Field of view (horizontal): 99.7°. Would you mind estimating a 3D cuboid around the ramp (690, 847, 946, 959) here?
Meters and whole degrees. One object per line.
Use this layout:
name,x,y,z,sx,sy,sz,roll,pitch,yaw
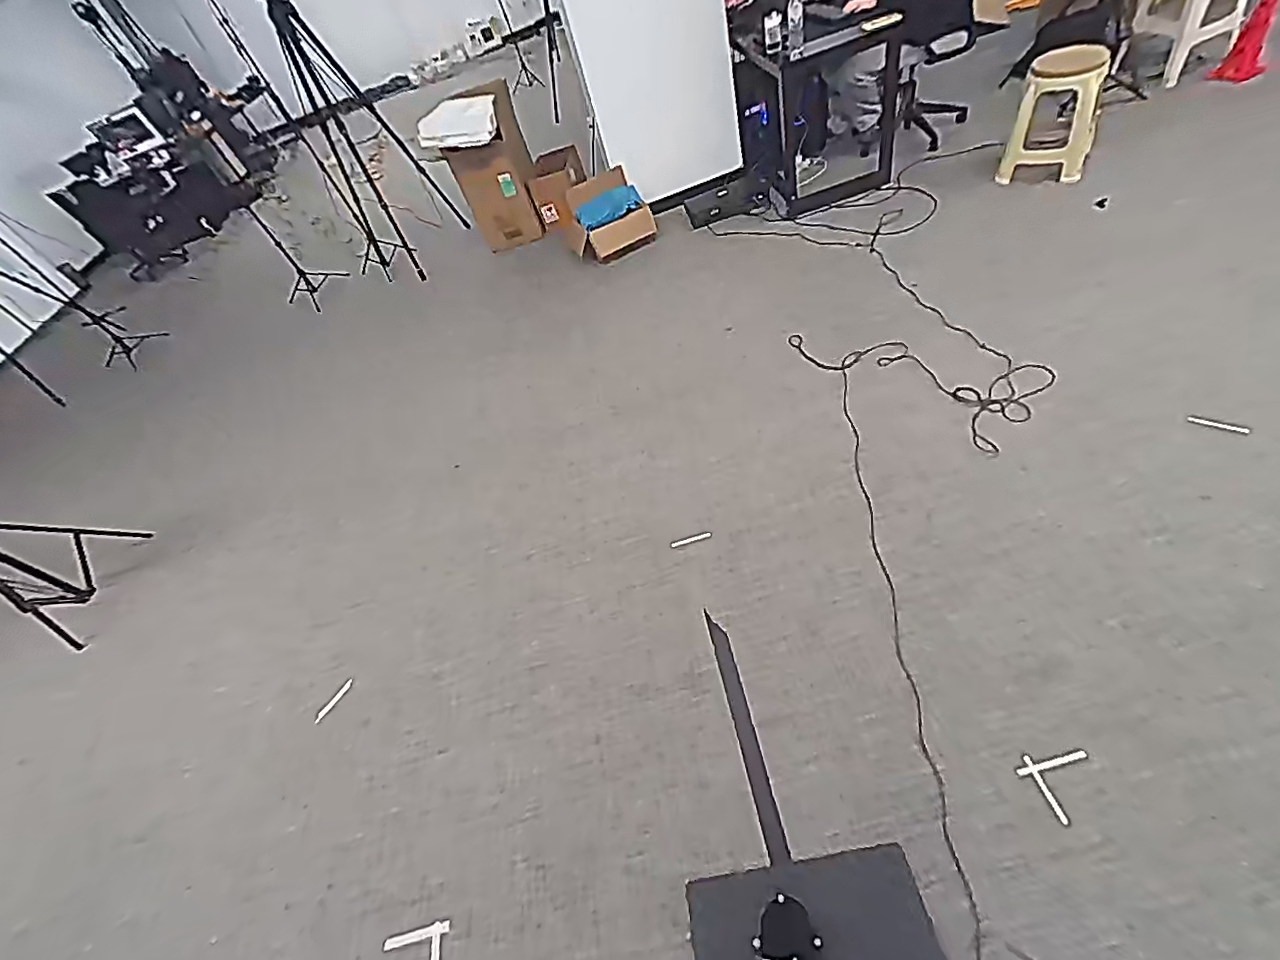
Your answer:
ramp,0.382,1.176,0.827,0.509,0.206,0.991,-18,47,6
